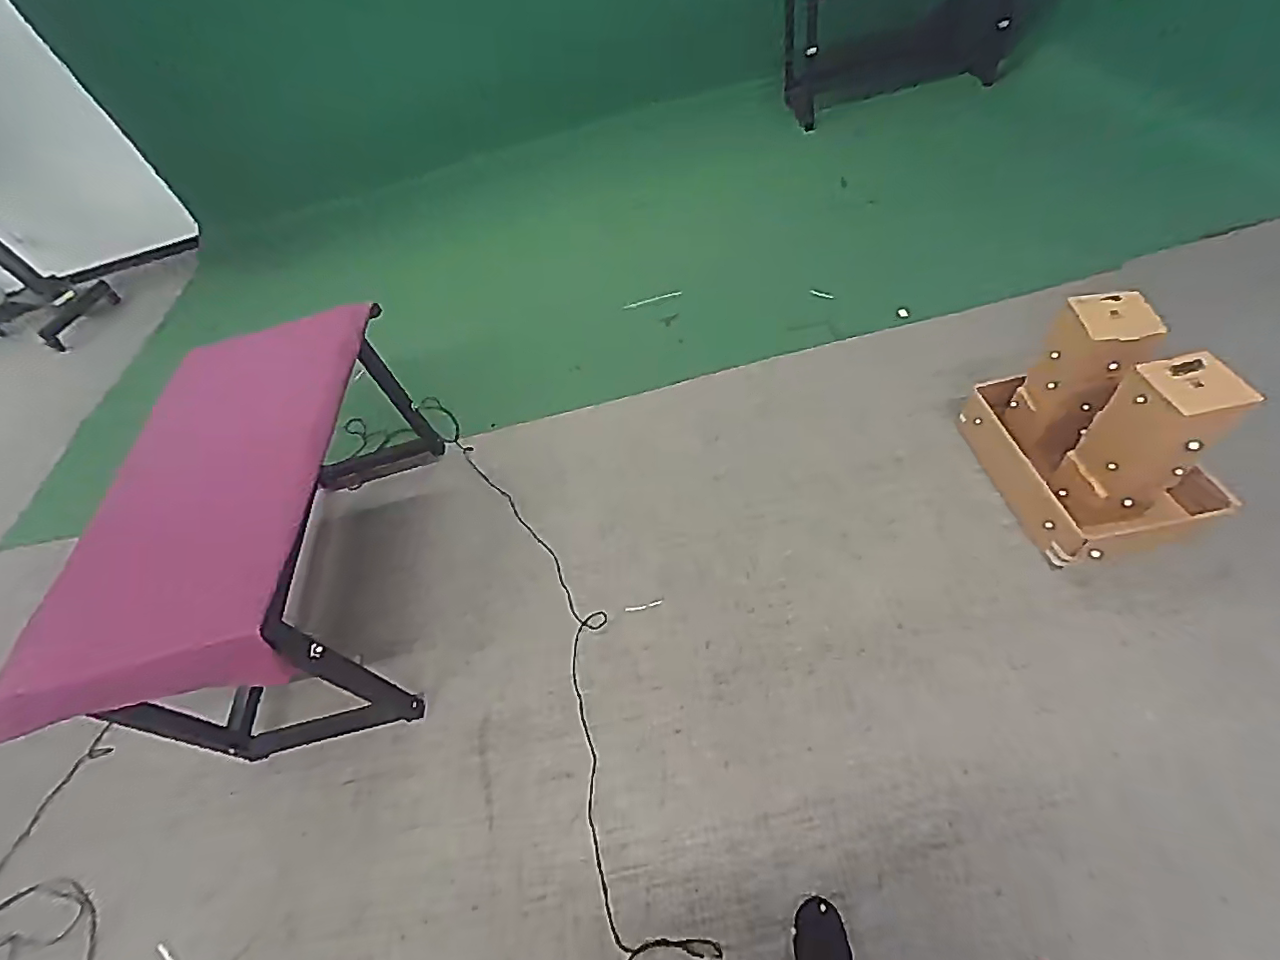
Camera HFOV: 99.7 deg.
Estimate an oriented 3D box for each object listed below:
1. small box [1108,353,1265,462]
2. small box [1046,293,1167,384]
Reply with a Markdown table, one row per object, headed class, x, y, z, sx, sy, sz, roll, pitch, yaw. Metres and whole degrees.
| class | x | y | z | sx | sy | sz | roll | pitch | yaw |
| --- | --- | --- | --- | --- | --- | --- | --- | --- | --- |
| small box | 1.286 | -0.171 | 1.295 | 0.168 | 0.176 | 0.179 | -12 | 51 | 6 |
| small box | 1.244 | -0.374 | 1.457 | 0.168 | 0.176 | 0.179 | -3 | 55 | 12 |
